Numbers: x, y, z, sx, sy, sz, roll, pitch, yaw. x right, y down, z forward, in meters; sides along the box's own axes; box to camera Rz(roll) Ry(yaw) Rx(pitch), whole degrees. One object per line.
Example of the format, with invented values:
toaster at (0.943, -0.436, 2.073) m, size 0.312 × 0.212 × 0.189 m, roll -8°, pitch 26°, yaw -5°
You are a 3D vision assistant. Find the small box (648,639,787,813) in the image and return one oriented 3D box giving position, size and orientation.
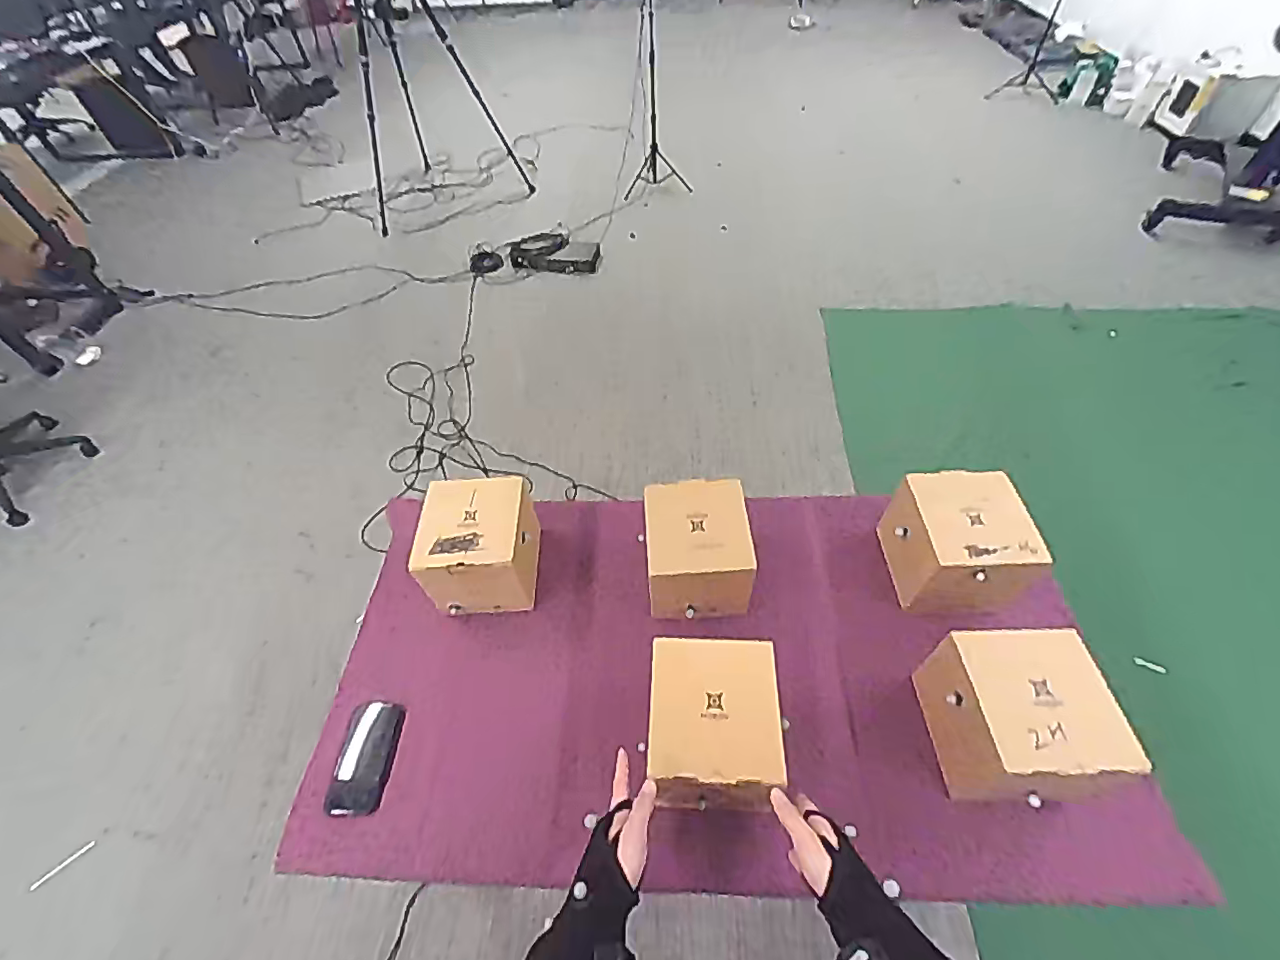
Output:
small box at (0.097, 0.339, 0.744) m, size 0.168 × 0.176 × 0.179 m, roll 1°, pitch 51°, yaw 4°

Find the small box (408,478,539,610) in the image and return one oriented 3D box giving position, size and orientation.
small box at (-0.276, 0.118, 0.944) m, size 0.168 × 0.176 × 0.179 m, roll -3°, pitch 50°, yaw 0°

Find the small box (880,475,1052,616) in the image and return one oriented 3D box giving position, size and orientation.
small box at (0.524, 0.111, 0.904) m, size 0.168 × 0.176 × 0.179 m, roll -2°, pitch 50°, yaw 3°

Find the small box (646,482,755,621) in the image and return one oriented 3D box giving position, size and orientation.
small box at (0.094, 0.123, 0.921) m, size 0.168 × 0.176 × 0.179 m, roll -3°, pitch 51°, yaw 2°

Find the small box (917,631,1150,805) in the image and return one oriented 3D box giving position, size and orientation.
small box at (0.502, 0.321, 0.729) m, size 0.168 × 0.176 × 0.179 m, roll -2°, pitch 50°, yaw 3°
